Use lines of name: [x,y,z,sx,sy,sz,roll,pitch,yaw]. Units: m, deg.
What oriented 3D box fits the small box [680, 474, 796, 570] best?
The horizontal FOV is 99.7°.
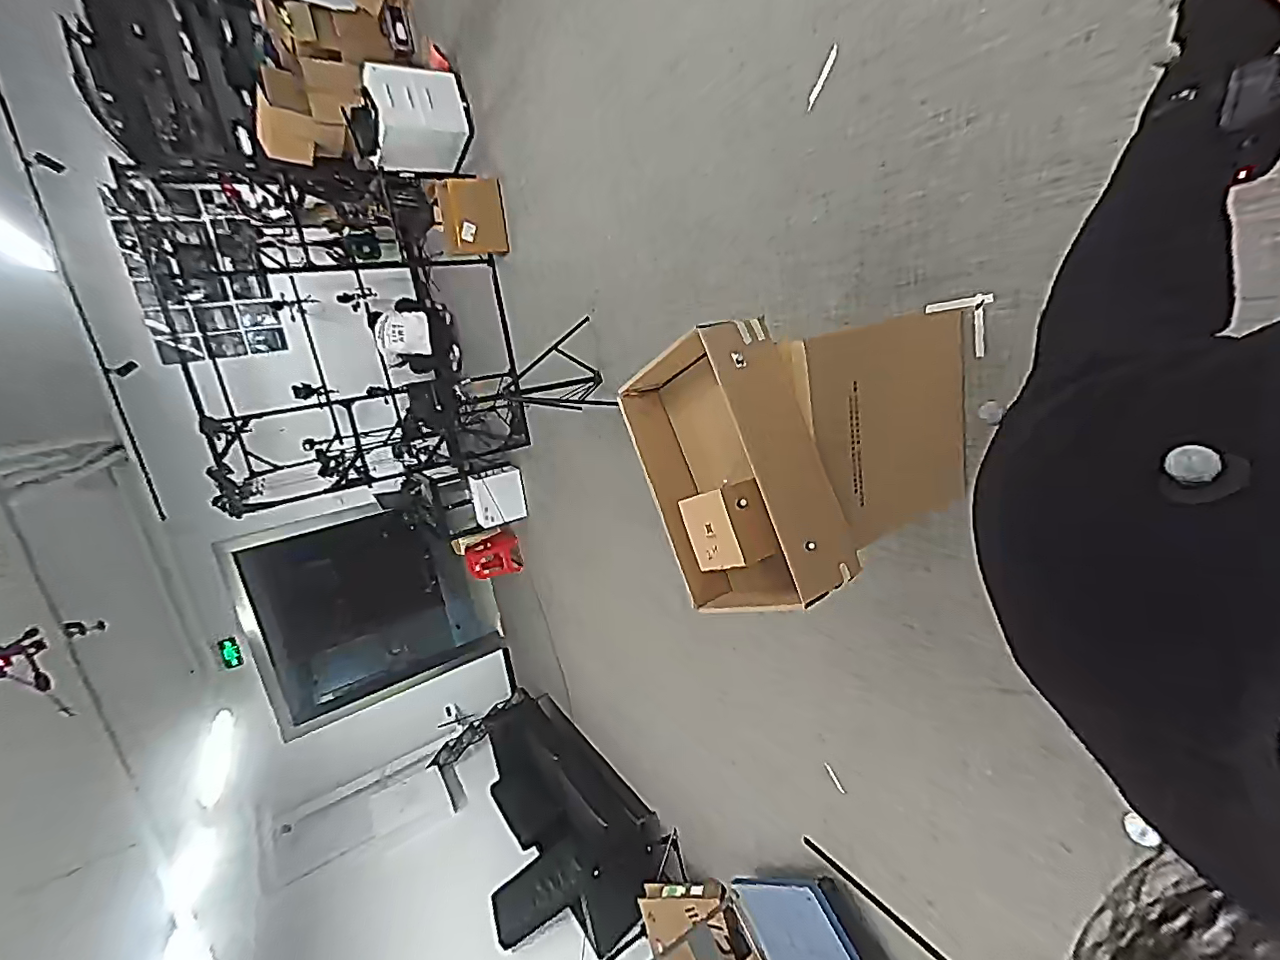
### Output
small box: [0.226,0.094,1.245,0.168,0.176,0.179,-24,85,59]
